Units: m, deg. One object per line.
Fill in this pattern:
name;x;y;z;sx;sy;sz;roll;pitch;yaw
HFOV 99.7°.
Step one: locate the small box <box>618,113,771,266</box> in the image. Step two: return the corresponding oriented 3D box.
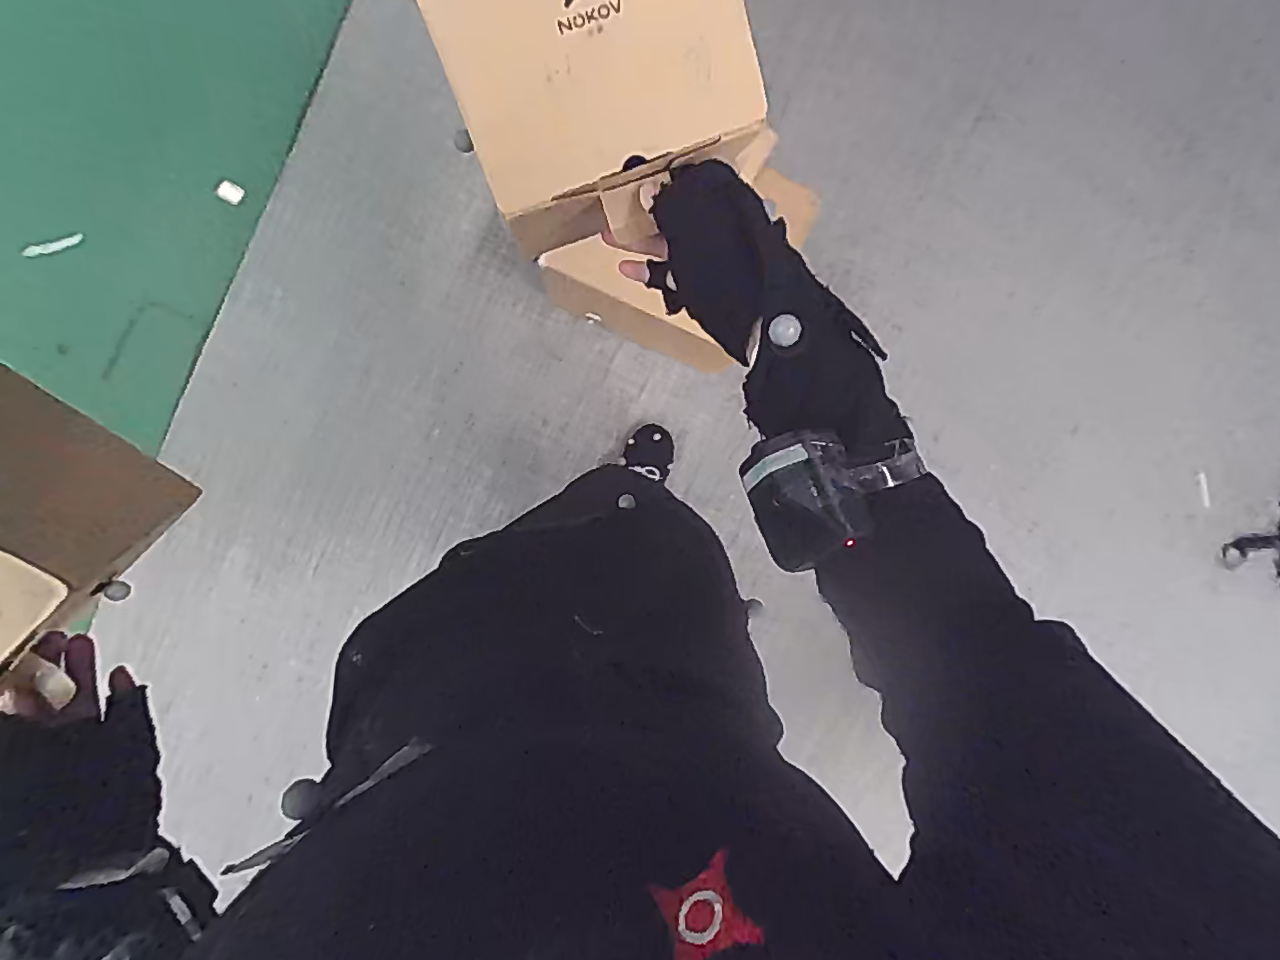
small box;0.070;-0.449;0.834;0.179;0.176;0.168;23;99;-7
